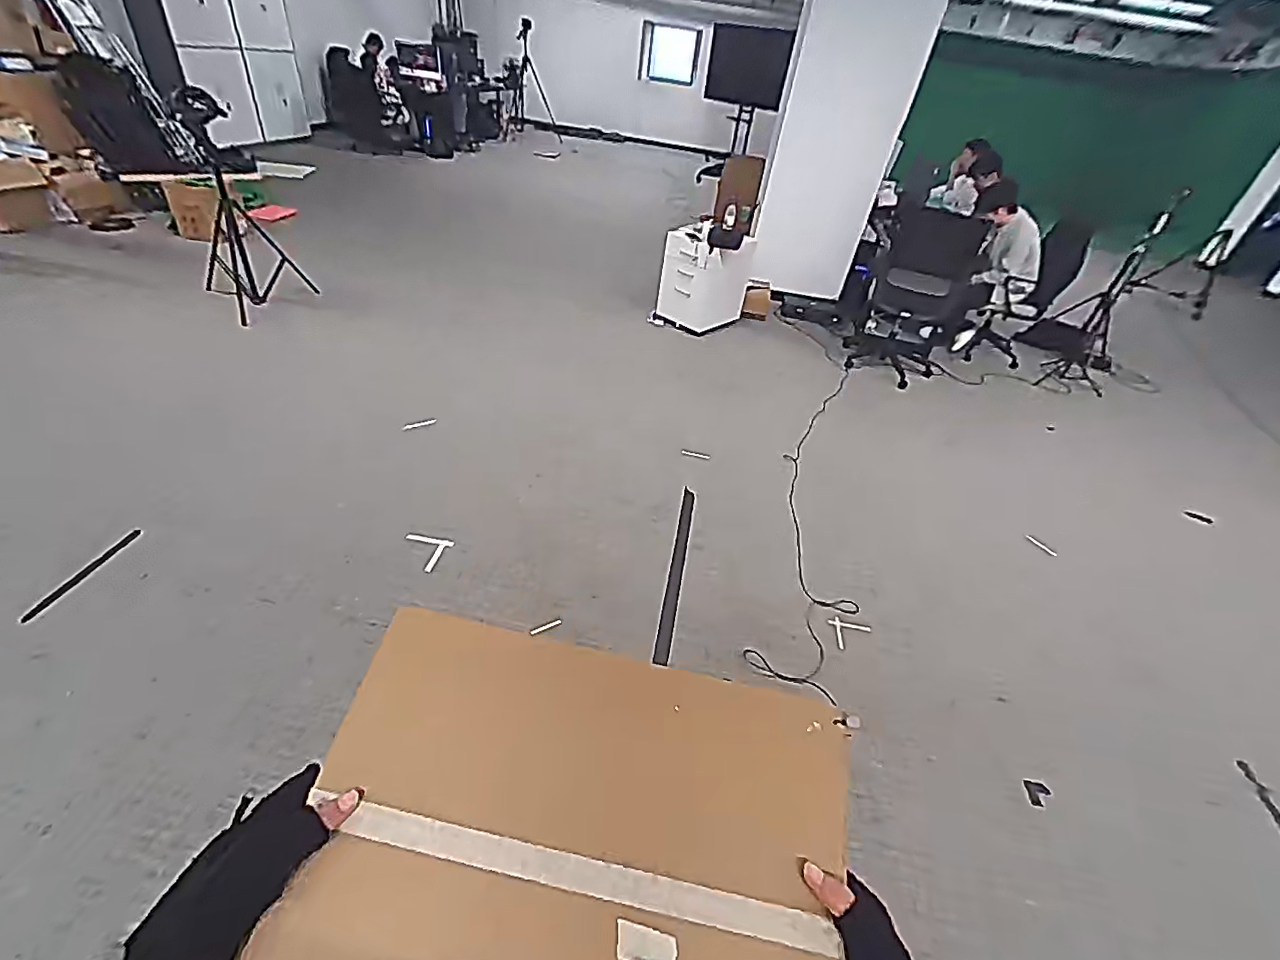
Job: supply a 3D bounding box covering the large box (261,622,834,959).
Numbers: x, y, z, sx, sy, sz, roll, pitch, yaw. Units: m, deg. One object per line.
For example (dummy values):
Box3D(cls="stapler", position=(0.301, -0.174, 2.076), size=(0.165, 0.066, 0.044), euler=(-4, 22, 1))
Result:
Box3D(cls="large box", position=(-0.061, 0.374, 0.538), size=(0.408, 0.320, 0.320), euler=(12, 58, 4))
